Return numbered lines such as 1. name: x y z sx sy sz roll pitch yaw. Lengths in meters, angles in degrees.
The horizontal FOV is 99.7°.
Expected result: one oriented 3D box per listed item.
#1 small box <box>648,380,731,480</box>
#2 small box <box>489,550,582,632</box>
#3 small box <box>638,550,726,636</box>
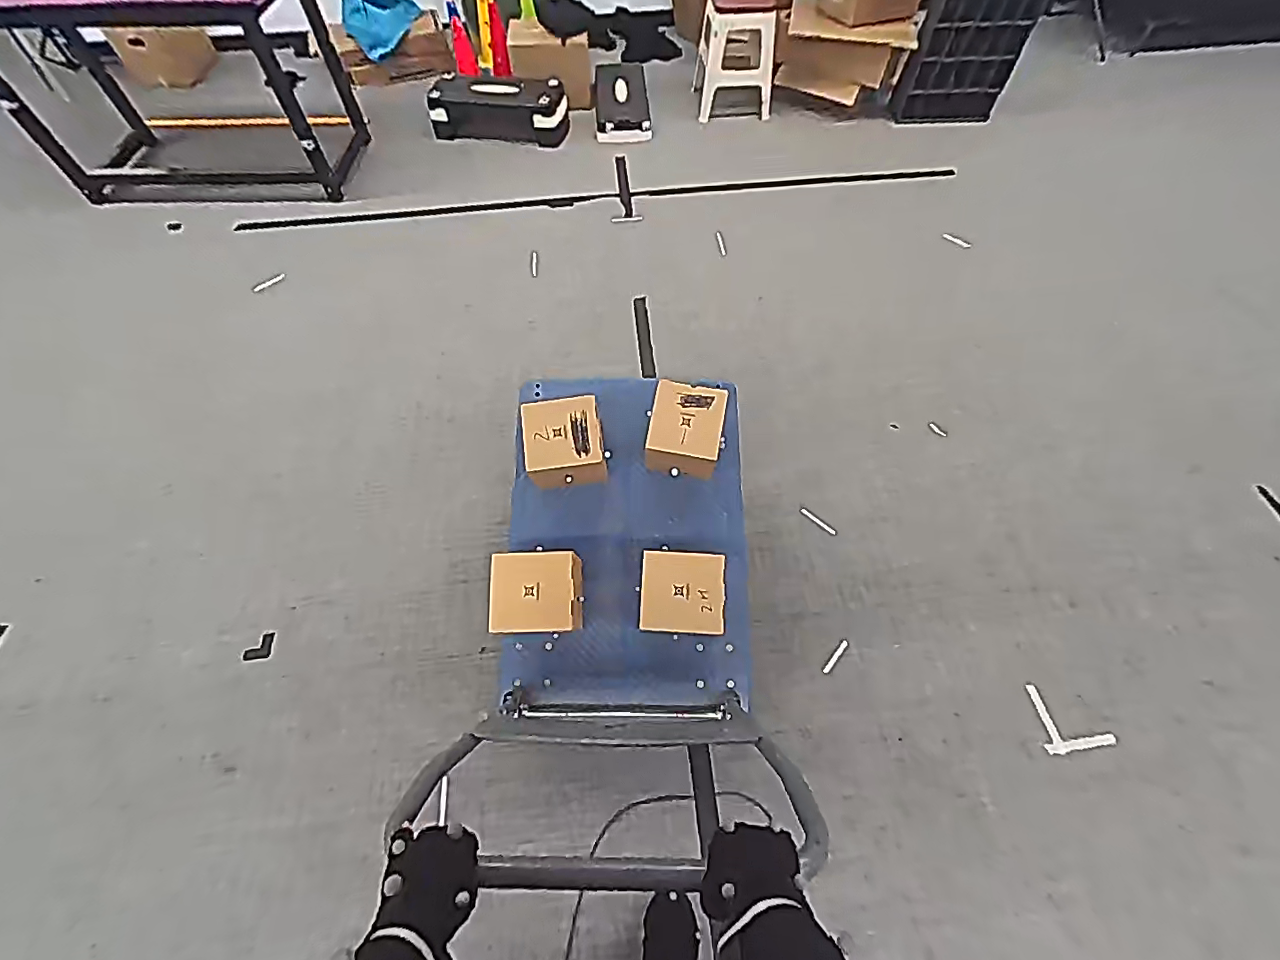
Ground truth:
1. small box: 0.113 -0.115 1.307 0.168 0.176 0.179 11 76 4
2. small box: -0.226 0.252 1.207 0.179 0.176 0.168 -1 74 -2
3. small box: 0.091 0.255 1.202 0.179 0.176 0.168 4 75 2
